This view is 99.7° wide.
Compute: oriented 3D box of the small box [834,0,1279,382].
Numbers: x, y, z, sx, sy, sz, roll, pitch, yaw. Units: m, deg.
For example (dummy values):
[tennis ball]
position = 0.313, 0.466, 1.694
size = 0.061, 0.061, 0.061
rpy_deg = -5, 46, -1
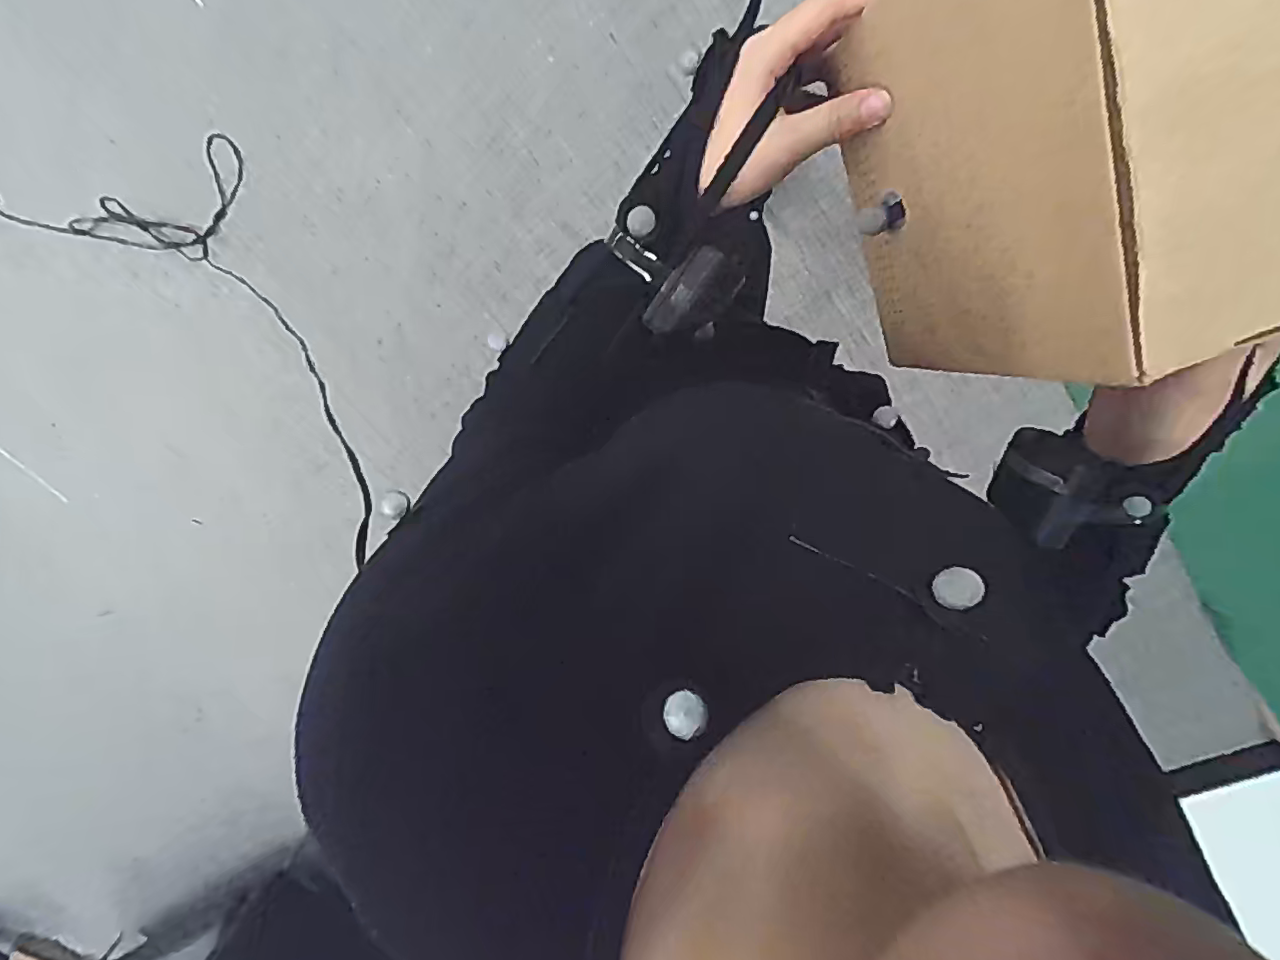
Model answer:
[small box]
position = 0.211, -0.159, 0.242
size = 0.168, 0.176, 0.179
rpy_deg = -19, 105, 2
